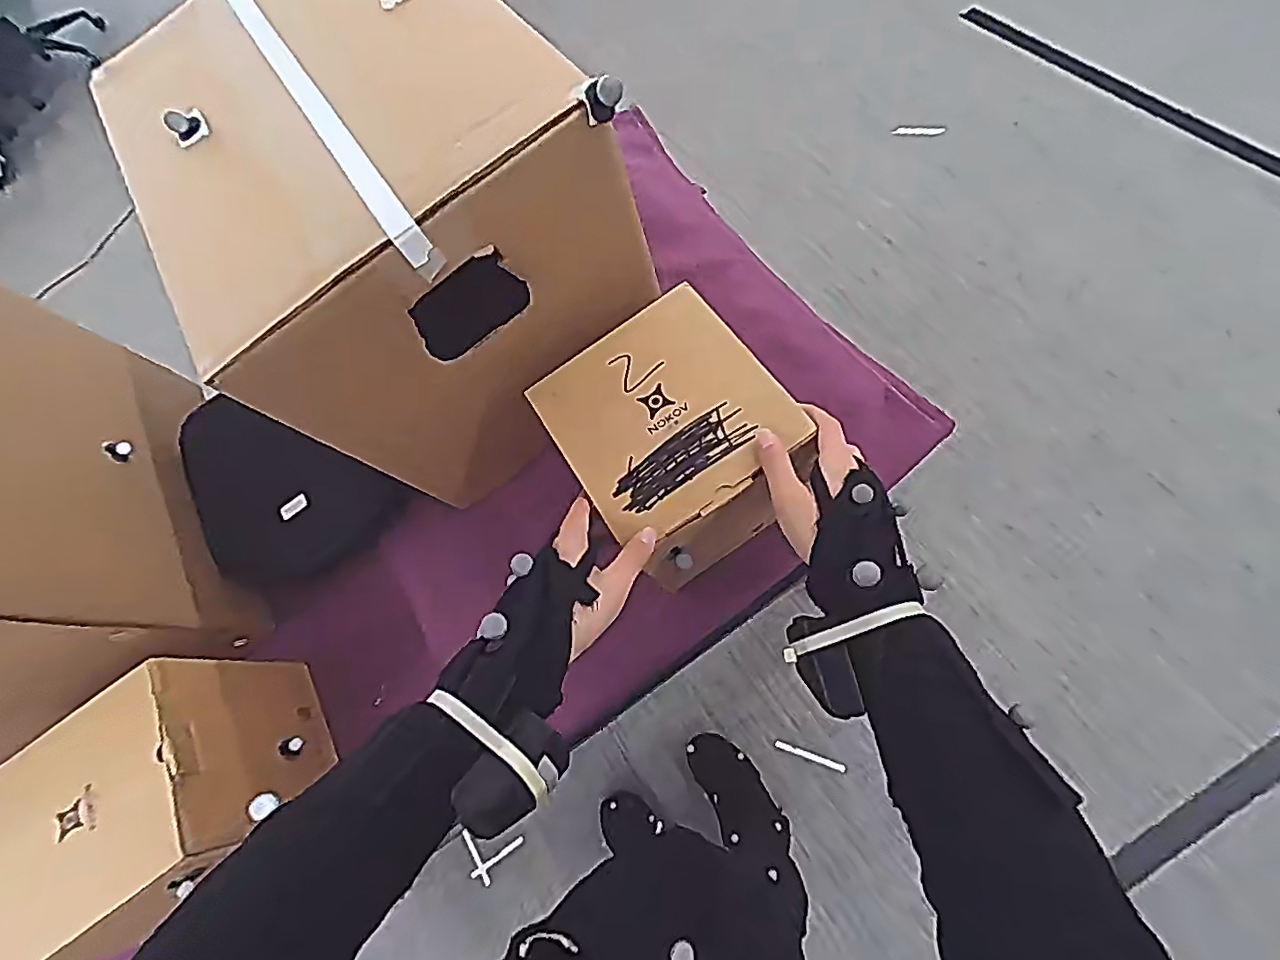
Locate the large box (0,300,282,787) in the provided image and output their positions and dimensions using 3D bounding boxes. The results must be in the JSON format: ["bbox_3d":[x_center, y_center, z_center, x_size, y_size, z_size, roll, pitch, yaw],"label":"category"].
[{"bbox_3d":[-0.674,0.064,0.564,0.320,0.320,0.408,-35,69,0],"label":"large box"}]
